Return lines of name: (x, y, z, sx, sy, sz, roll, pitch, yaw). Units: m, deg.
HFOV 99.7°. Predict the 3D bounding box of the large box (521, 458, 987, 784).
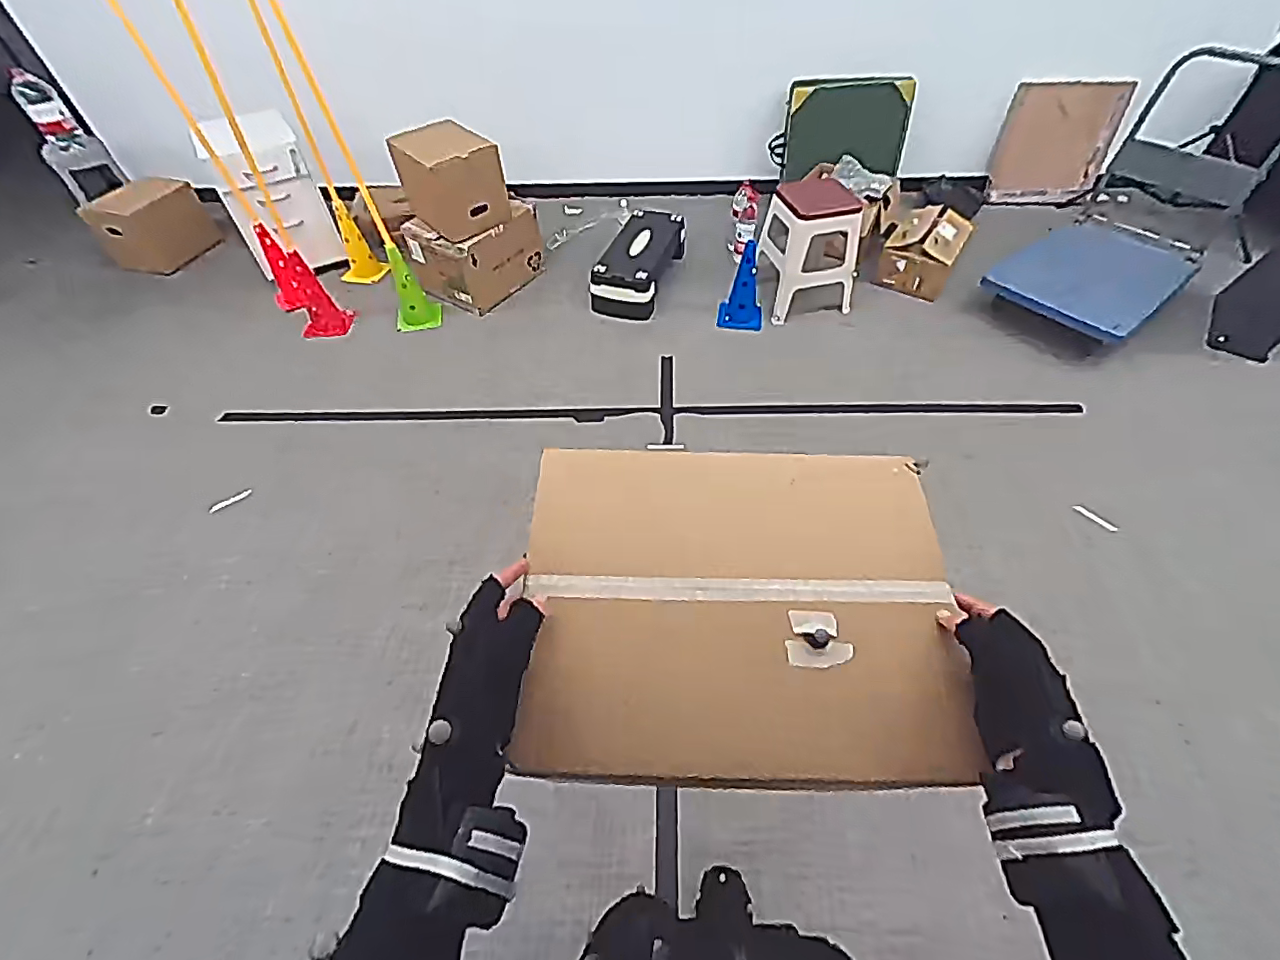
large box: (0.093, 0.184, 0.655, 0.408, 0.320, 0.320, 1, 60, 0)
